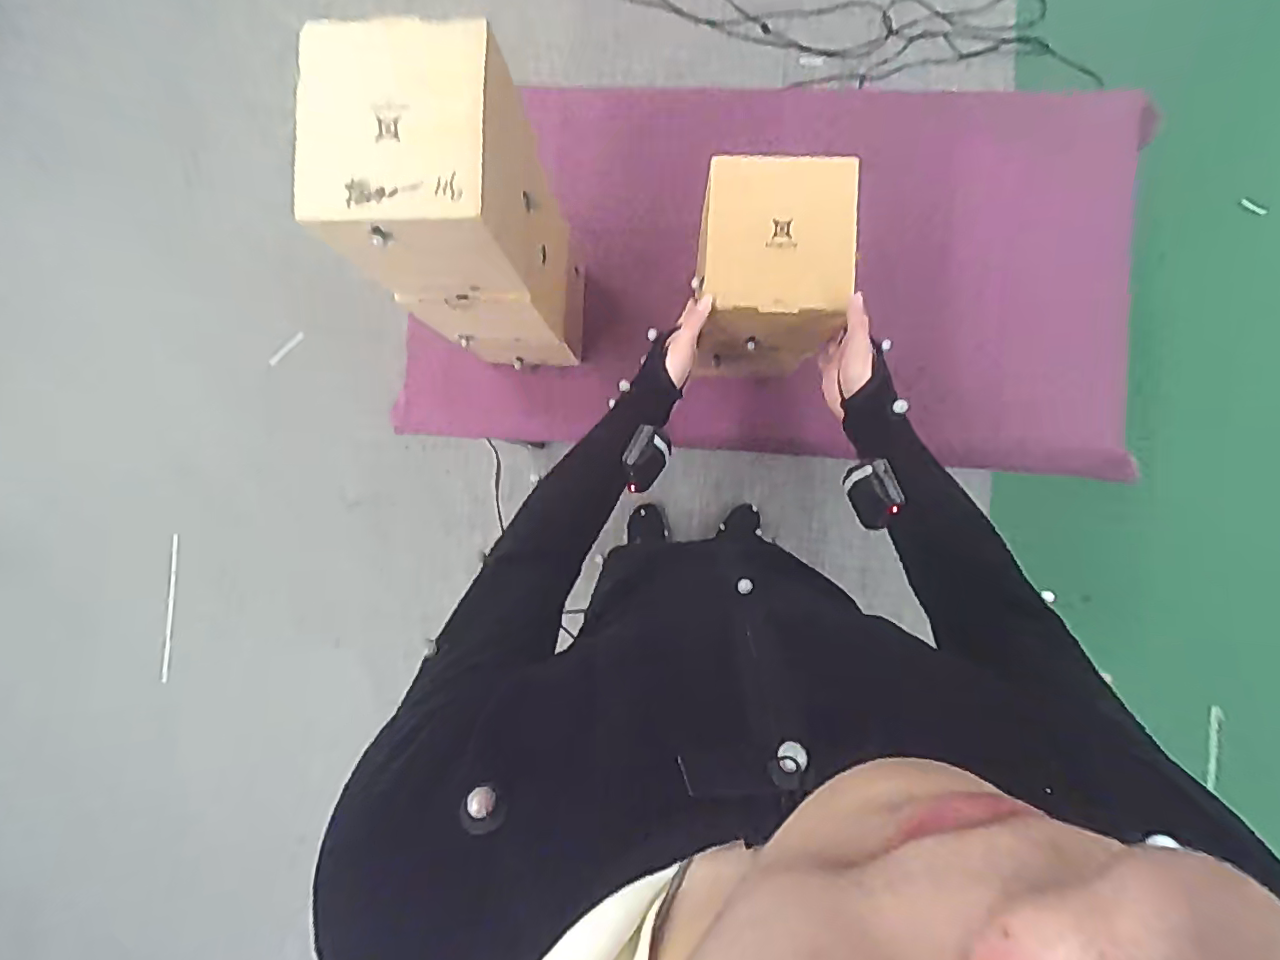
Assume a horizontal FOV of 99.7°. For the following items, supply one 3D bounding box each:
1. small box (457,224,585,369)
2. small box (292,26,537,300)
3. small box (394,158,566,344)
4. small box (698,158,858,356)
[{"bbox_3d":[-0.184,-0.287,0.867,0.168,0.176,0.179,2,89,4],"label":"small box"},{"bbox_3d":[-0.206,-0.299,0.540,0.168,0.176,0.179,1,87,5],"label":"small box"},{"bbox_3d":[-0.195,-0.284,0.703,0.168,0.176,0.179,2,87,4],"label":"small box"},{"bbox_3d":[0.160,-0.268,0.678,0.168,0.176,0.179,3,88,4],"label":"small box"}]
